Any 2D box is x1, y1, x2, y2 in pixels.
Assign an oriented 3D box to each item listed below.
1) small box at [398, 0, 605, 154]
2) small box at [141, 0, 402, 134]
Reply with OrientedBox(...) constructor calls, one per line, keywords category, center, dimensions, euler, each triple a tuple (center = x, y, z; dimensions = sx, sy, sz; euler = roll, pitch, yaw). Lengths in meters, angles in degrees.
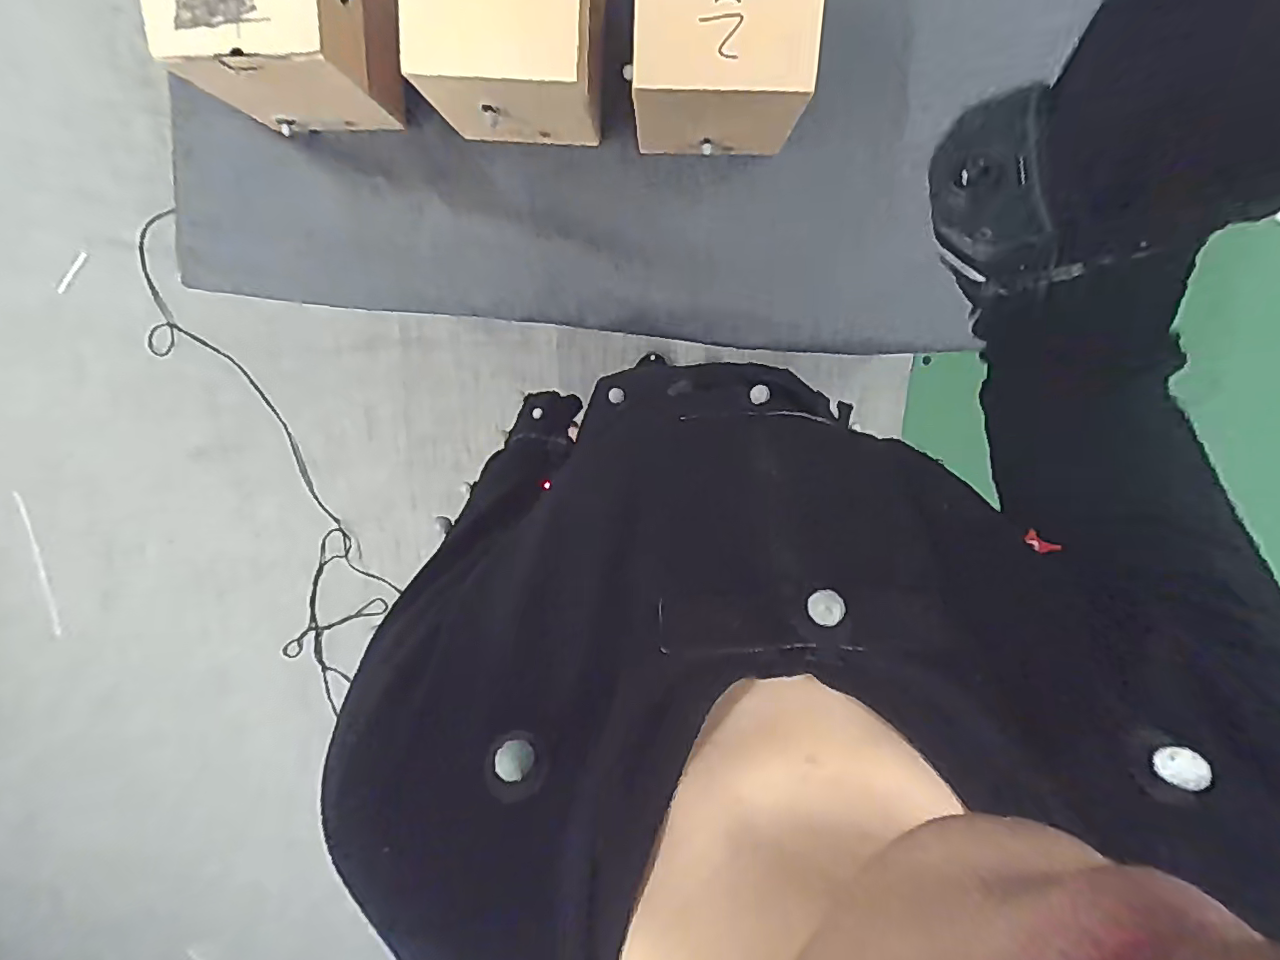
OrientedBox(category="small box", center=(-0.128, -0.458, 0.552), dimensions=(0.168, 0.176, 0.179), euler=(4, 102, 2))
OrientedBox(category="small box", center=(-0.363, -0.480, 0.556), dimensions=(0.168, 0.176, 0.179), euler=(1, 102, 2))
